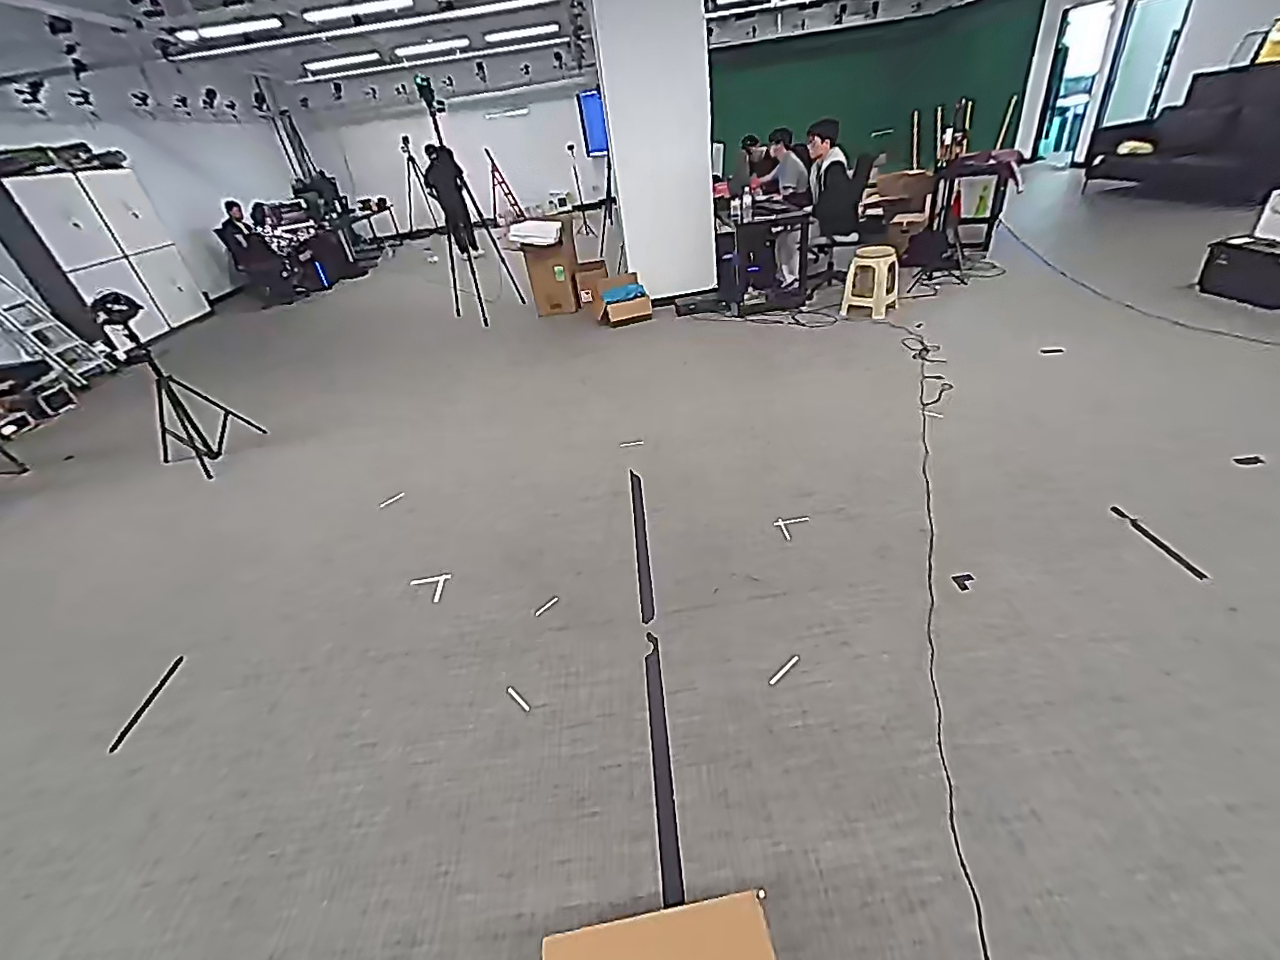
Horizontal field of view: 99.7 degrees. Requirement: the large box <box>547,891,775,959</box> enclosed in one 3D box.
[{"bbox_3d":[0.063,1.012,0.955,0.408,0.320,0.320,-11,33,-2],"label":"large box"}]
